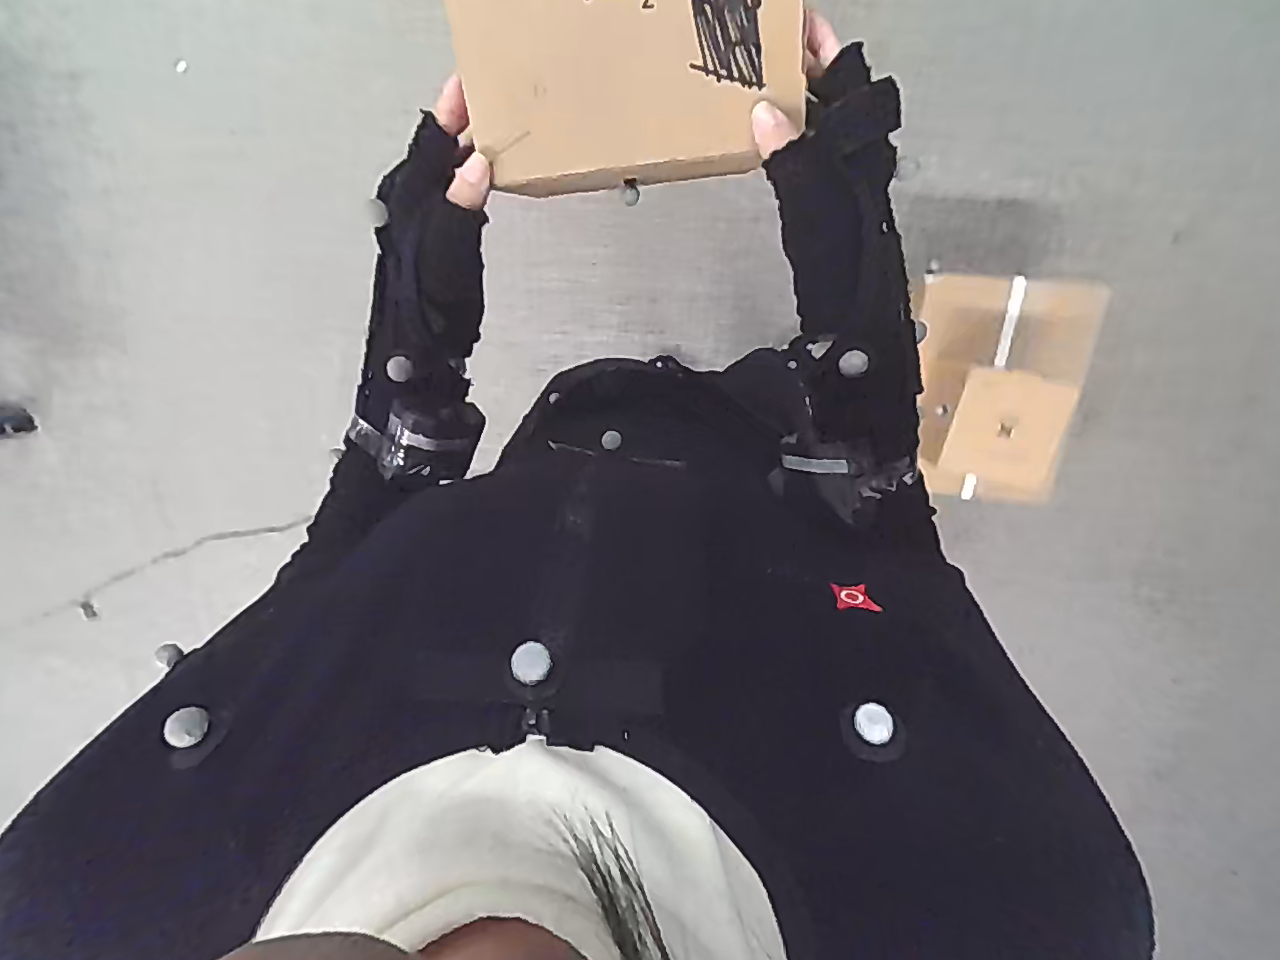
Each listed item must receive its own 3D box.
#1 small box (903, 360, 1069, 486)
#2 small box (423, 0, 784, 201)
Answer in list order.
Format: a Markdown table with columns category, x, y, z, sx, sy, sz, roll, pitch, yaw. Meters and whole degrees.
| category | x | y | z | sx | sy | sz | roll | pitch | yaw |
| --- | --- | --- | --- | --- | --- | --- | --- | --- | --- |
| small box | 0.591 | -0.109 | 0.953 | 0.168 | 0.176 | 0.179 | 12 | 108 | 5 |
| small box | -0.020 | -0.273 | 0.331 | 0.179 | 0.176 | 0.168 | -6 | 116 | 3 |
